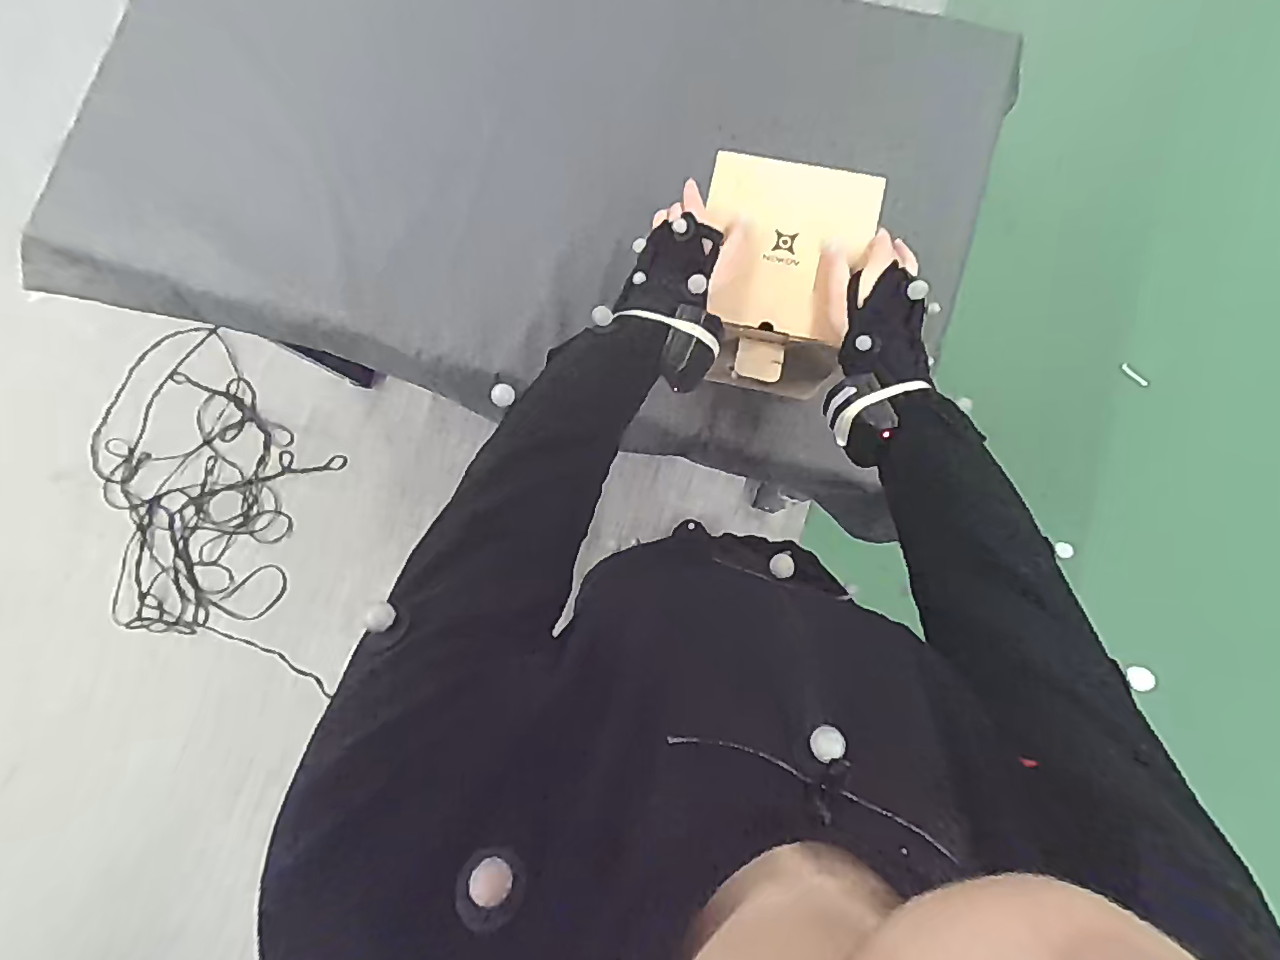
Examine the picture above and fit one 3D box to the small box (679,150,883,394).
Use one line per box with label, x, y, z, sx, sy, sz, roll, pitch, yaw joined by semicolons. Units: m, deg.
small box;0.139;-0.212;0.594;0.168;0.176;0.179;12;84;3
